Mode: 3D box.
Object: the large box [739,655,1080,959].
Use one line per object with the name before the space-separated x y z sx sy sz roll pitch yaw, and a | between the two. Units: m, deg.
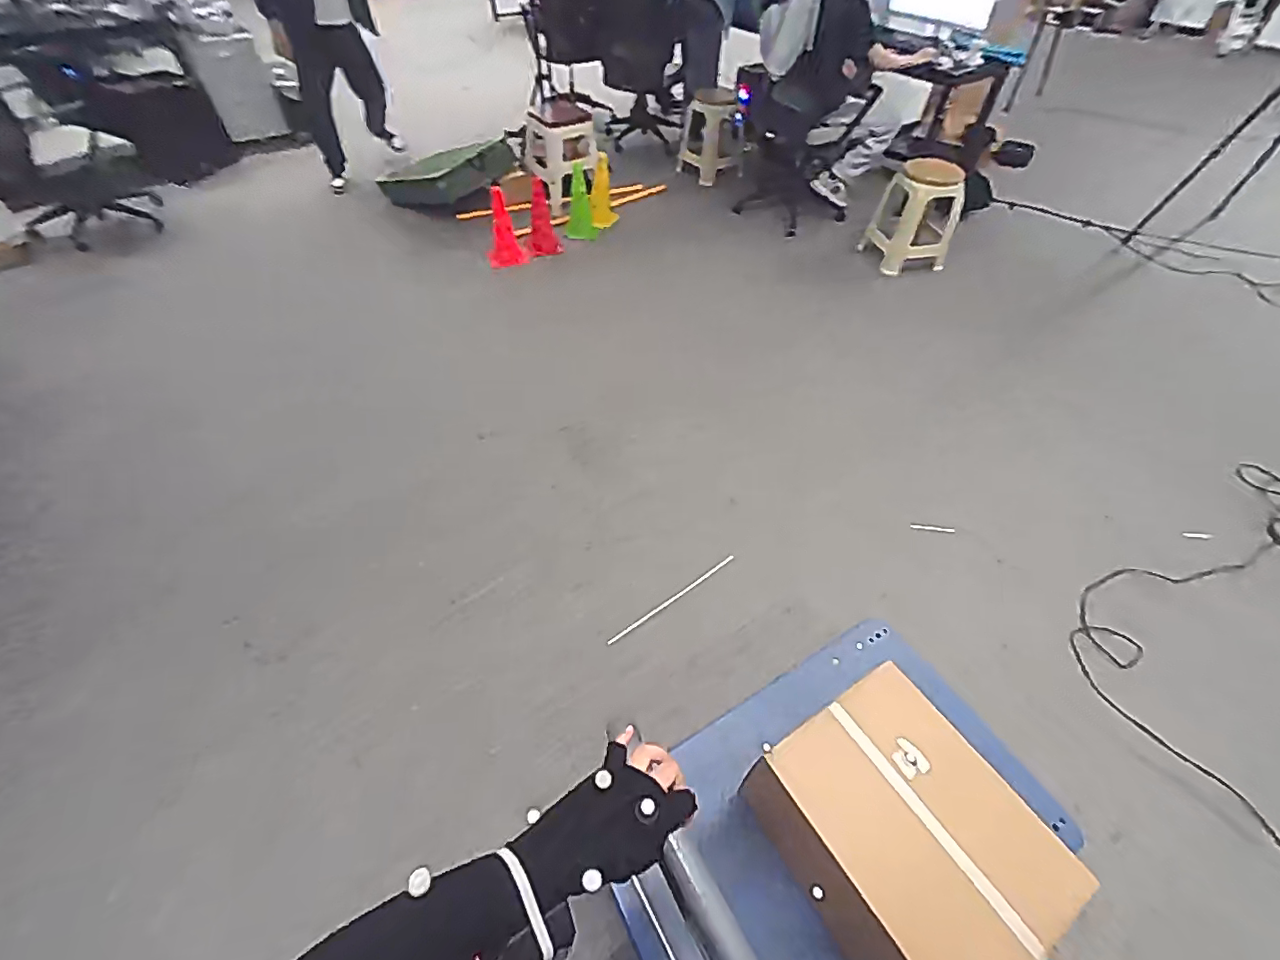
large box | 0.435 0.616 0.982 0.320 0.320 0.408 -25 54 -20
